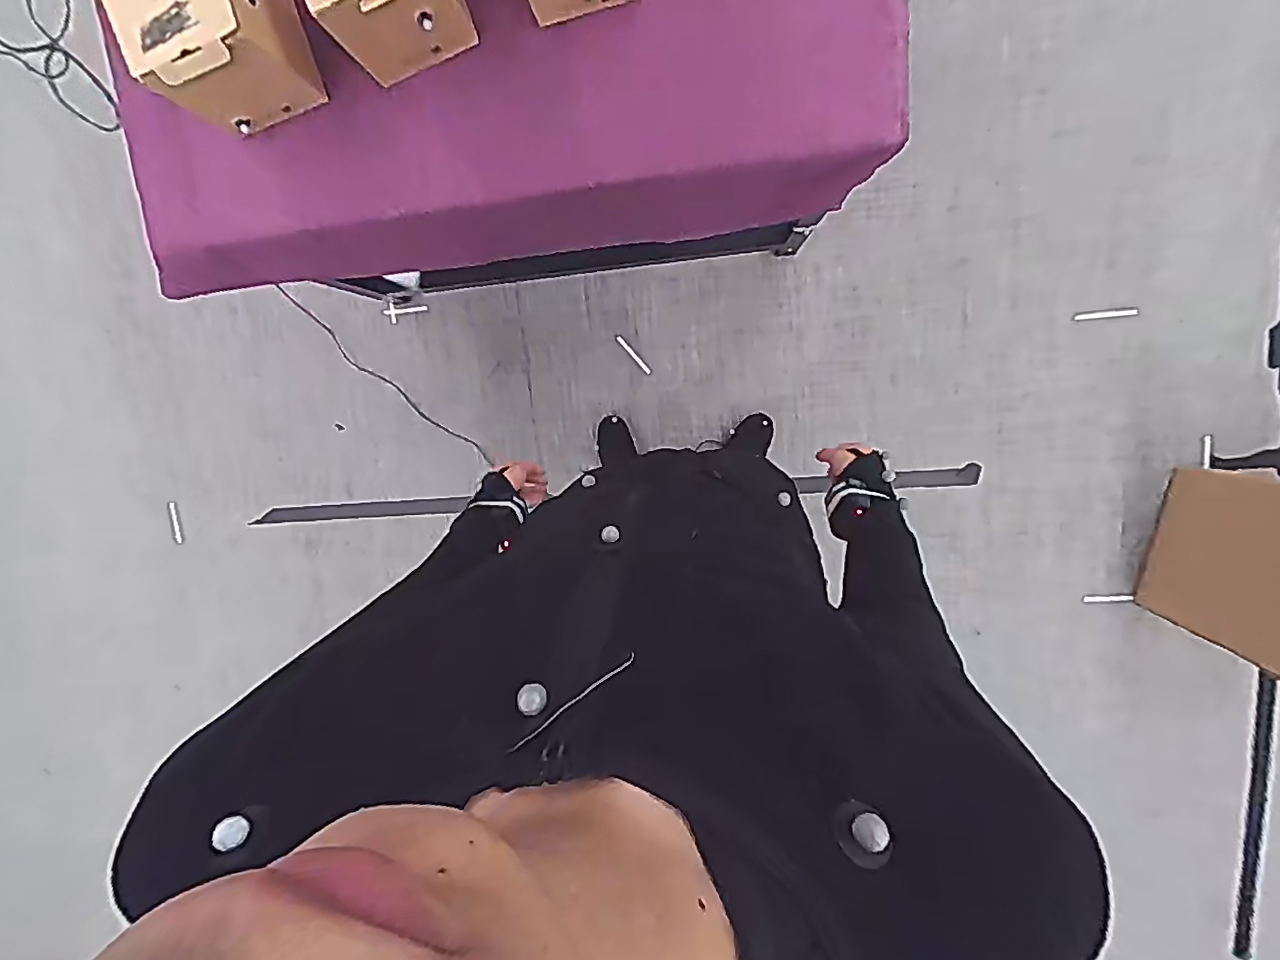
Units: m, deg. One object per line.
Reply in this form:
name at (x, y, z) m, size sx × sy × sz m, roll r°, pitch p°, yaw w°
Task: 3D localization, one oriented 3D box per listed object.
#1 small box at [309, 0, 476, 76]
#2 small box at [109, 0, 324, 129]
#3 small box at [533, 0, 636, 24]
small box at (-0.349, -0.695, 0.732) m, size 0.168 × 0.176 × 0.179 m, roll -18°, pitch 97°, yaw 8°
small box at (-0.591, -0.635, 0.763) m, size 0.168 × 0.176 × 0.179 m, roll -17°, pitch 97°, yaw 8°
small box at (-0.092, -0.752, 0.695) m, size 0.168 × 0.176 × 0.179 m, roll -10°, pitch 98°, yaw 8°
